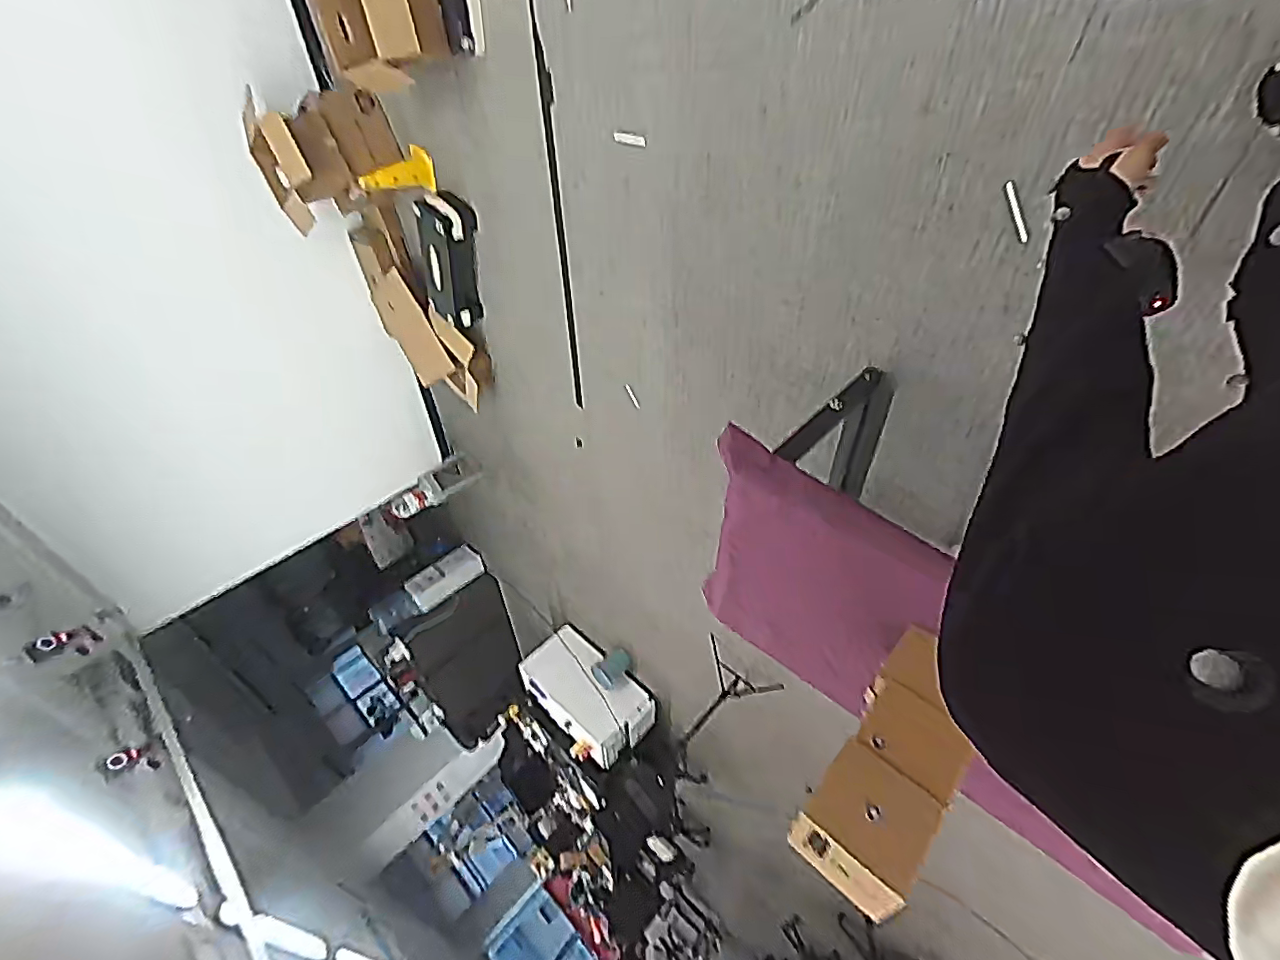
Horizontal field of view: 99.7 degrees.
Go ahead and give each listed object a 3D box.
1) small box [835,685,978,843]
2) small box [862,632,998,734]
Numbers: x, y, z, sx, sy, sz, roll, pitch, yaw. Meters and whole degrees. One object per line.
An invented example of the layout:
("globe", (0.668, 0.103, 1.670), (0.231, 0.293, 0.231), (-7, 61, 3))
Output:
("small box", (0.503, 0.530, 1.027), (0.179, 0.176, 0.168), (30, 141, 33))
("small box", (0.601, 0.447, 1.129), (0.179, 0.176, 0.168), (30, 142, 34))
